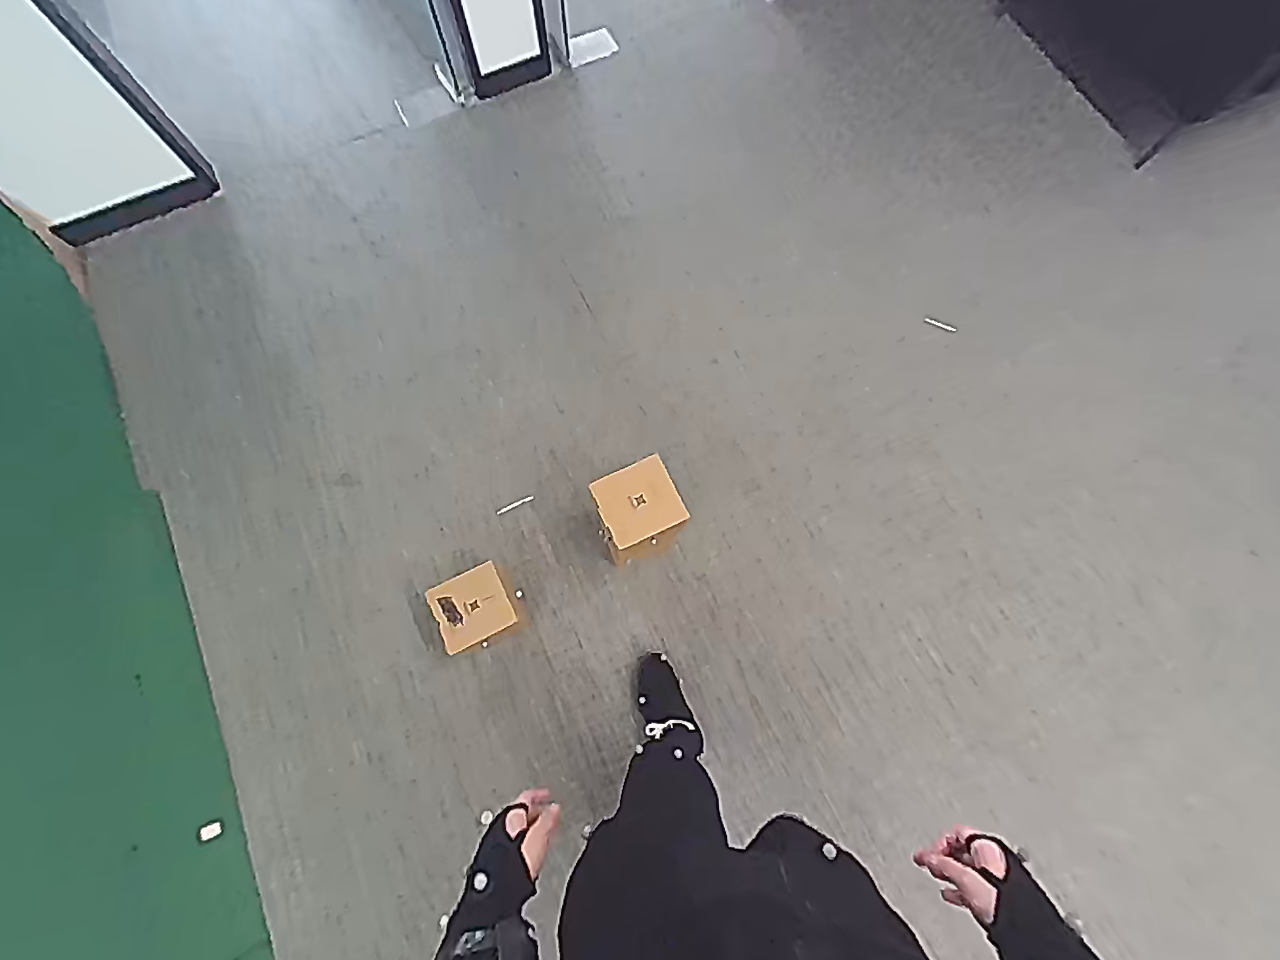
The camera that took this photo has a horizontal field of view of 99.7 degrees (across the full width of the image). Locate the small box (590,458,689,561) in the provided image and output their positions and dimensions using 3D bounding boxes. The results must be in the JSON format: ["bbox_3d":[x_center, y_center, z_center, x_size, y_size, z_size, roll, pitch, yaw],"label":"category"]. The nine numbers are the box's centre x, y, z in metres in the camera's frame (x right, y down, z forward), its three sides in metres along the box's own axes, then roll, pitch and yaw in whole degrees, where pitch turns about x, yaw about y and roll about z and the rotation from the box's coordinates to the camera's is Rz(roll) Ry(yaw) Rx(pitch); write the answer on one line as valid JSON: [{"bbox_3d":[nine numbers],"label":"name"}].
[{"bbox_3d":[-0.002,0.076,1.266,0.179,0.176,0.168,-24,75,-9],"label":"small box"}]

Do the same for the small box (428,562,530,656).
[{"bbox_3d":[-0.397,0.328,1.354,0.179,0.176,0.168,-25,75,-9],"label":"small box"}]
